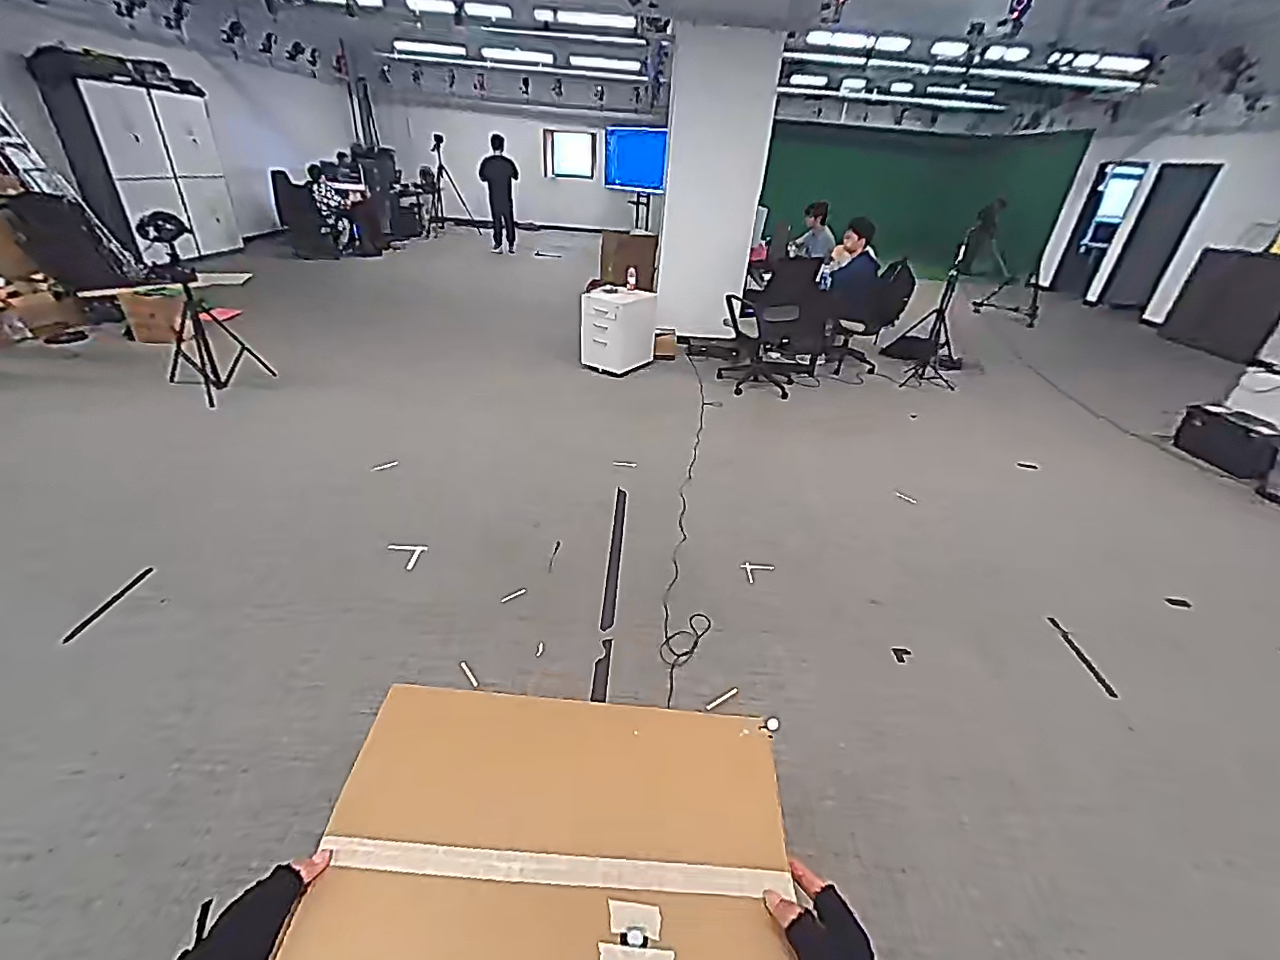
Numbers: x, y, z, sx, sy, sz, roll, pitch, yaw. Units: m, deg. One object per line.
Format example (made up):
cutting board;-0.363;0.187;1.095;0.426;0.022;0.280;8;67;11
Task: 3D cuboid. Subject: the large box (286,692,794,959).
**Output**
large box;-0.087;0.459;0.561;0.408;0.320;0.320;7;37;-2
